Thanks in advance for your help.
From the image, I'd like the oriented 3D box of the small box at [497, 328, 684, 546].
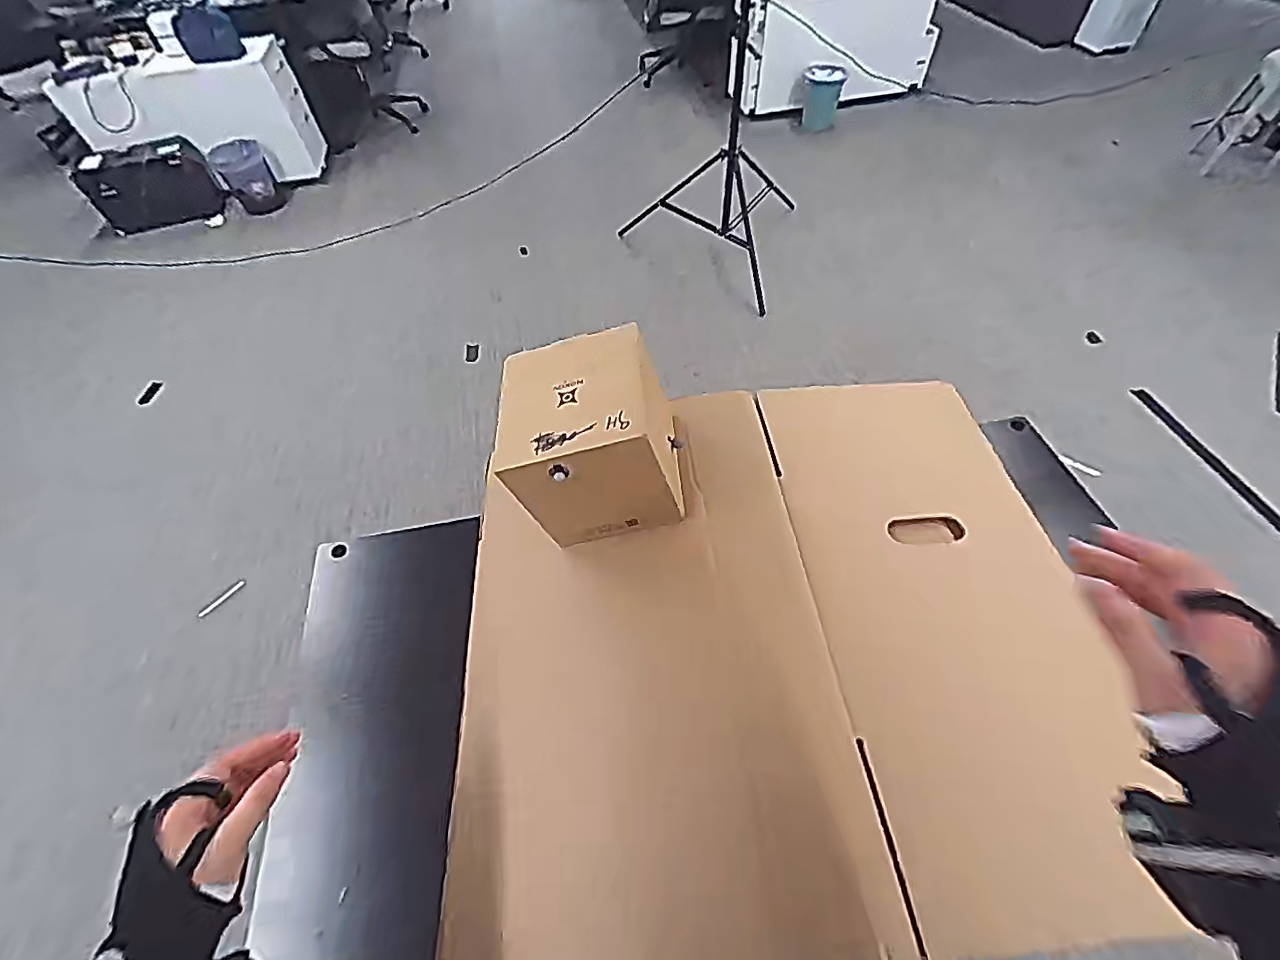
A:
[{"bbox_3d":[-0.050,-0.046,0.651,0.168,0.176,0.179,-14,52,12],"label":"small box"}]
